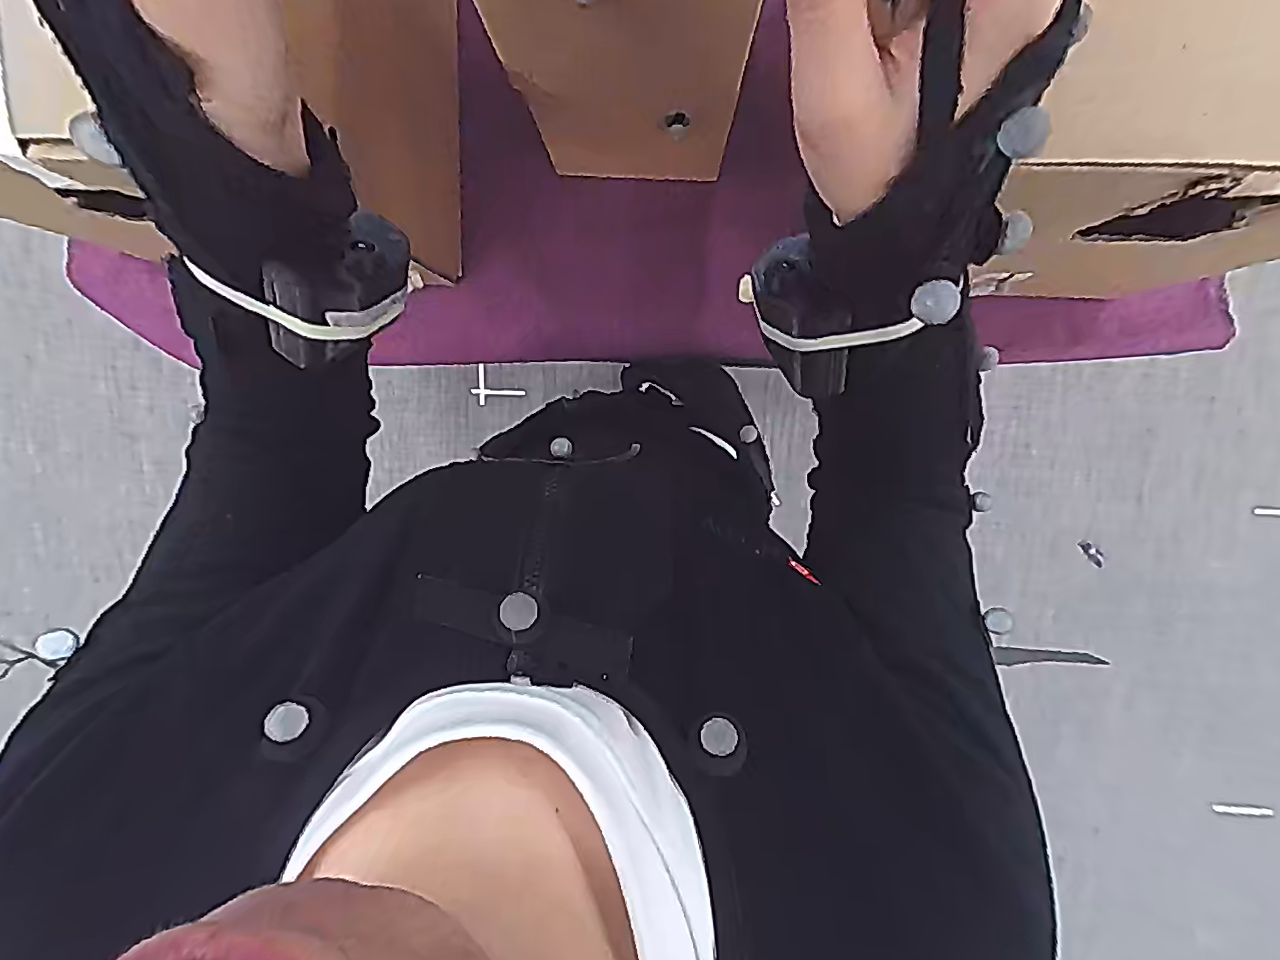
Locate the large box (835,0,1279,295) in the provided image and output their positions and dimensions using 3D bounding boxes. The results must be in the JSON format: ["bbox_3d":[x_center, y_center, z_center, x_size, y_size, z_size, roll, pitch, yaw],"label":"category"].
[{"bbox_3d":[0.355,-0.379,0.411,0.320,0.320,0.408,2,96,1],"label":"large box"}]
